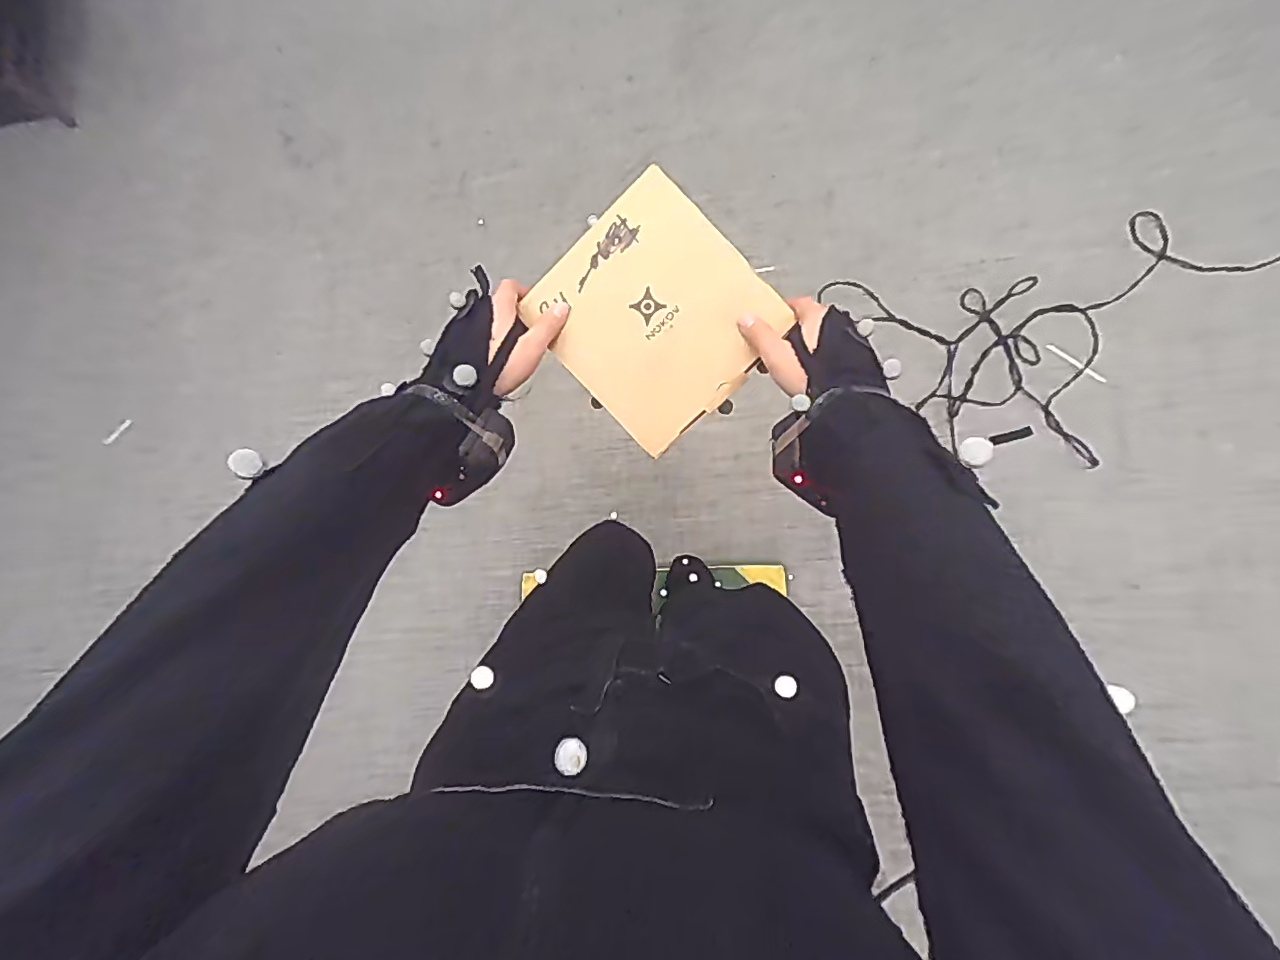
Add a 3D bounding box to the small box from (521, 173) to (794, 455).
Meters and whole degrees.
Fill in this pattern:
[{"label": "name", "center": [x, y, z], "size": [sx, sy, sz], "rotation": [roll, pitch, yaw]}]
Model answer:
[{"label": "small box", "center": [0.019, -0.146, 0.534], "size": [0.168, 0.176, 0.179], "rotation": [-43, 91, 6]}]
